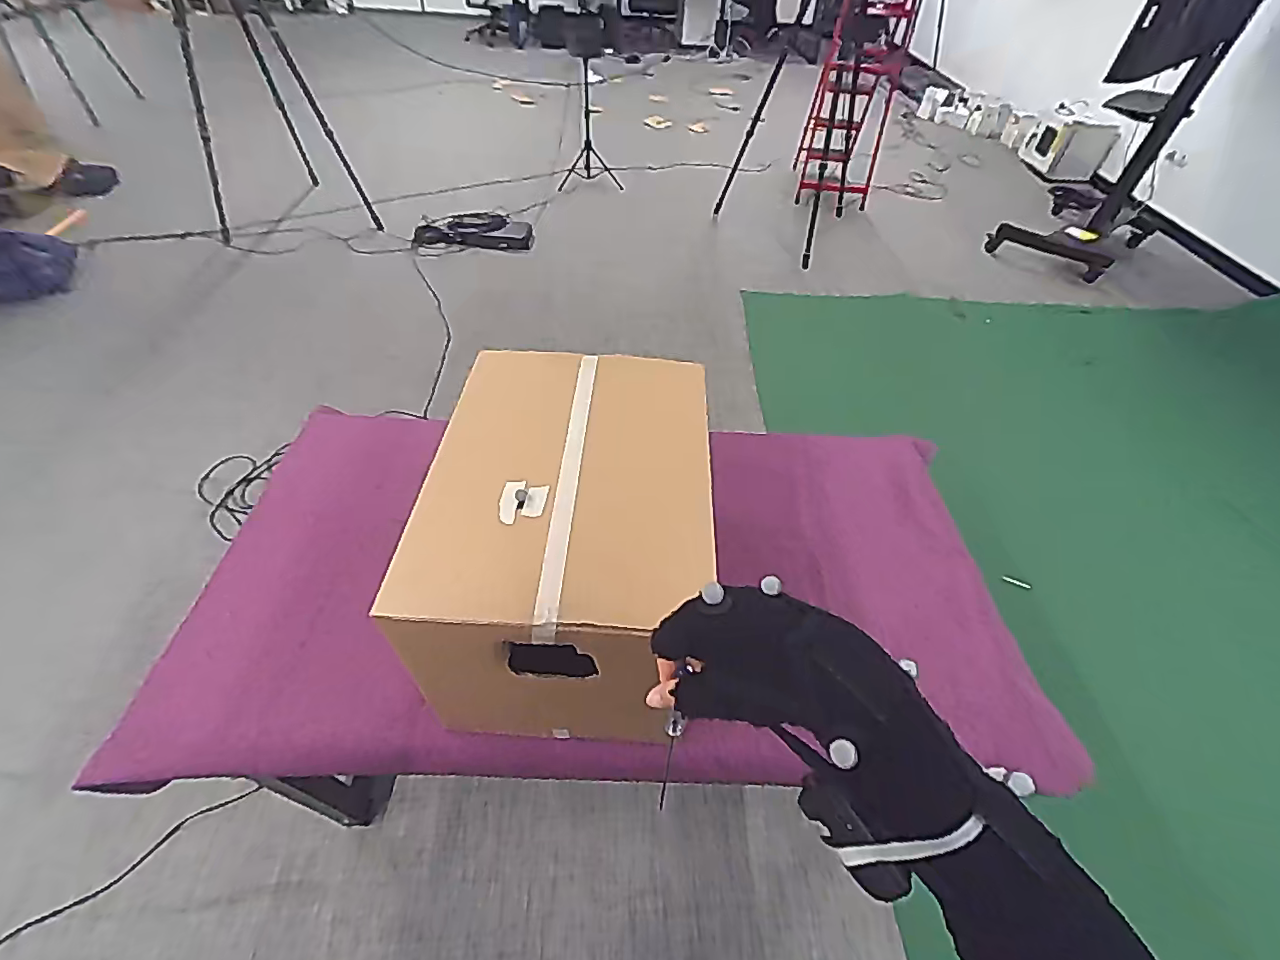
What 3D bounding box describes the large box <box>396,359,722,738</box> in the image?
[{"bbox_3d":[-0.079,0.088,0.740,0.320,0.320,0.408,4,49,0],"label":"large box"}]
